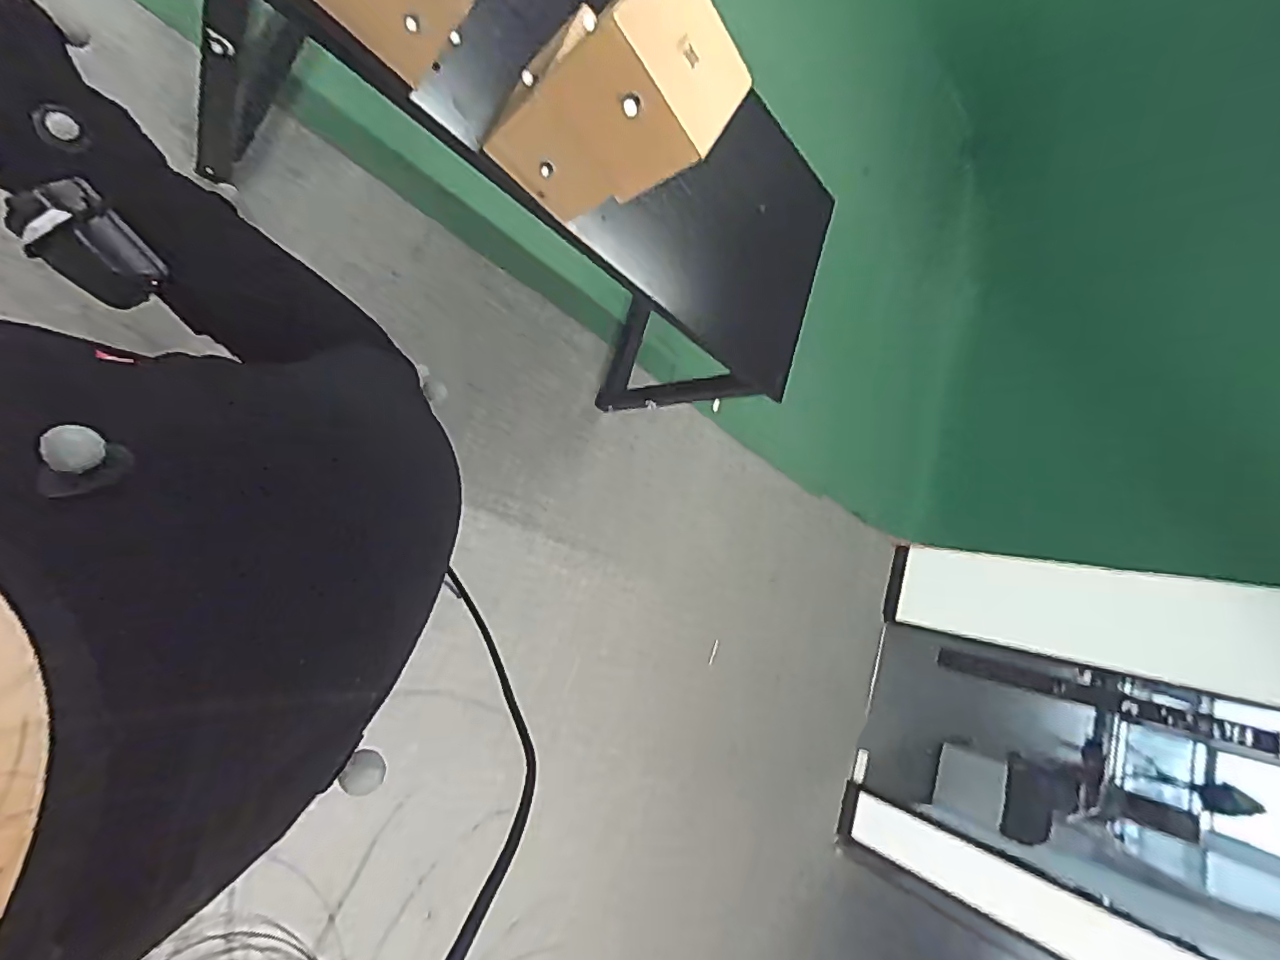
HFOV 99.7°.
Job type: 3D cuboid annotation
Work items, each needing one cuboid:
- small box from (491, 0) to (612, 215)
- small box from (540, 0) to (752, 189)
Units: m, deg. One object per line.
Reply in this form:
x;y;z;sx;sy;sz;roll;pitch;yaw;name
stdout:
-0.100;-0.542;0.818;0.168;0.176;0.179;33;72;-37;small box
0.007;-0.510;0.698;0.179;0.176;0.168;42;67;-34;small box
